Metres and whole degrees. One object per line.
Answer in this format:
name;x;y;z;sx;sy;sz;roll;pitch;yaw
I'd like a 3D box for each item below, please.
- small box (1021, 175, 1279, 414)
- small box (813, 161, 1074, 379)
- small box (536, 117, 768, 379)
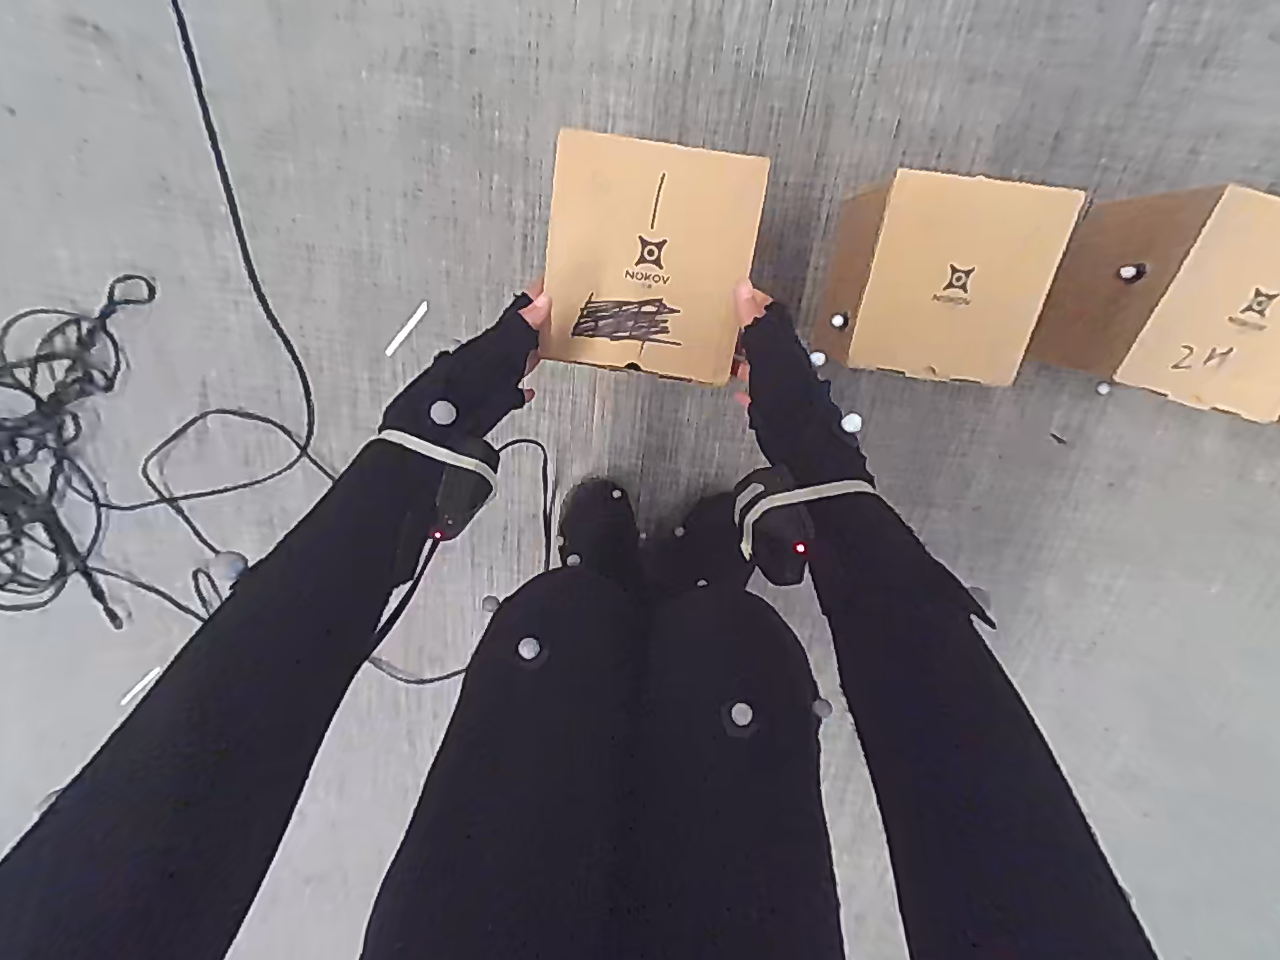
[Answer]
small box;0.553;-0.192;0.567;0.168;0.176;0.179;16;113;-1
small box;0.298;-0.219;0.580;0.168;0.176;0.179;8;112;2
small box;0.009;-0.203;0.510;0.168;0.176;0.179;9;106;0
